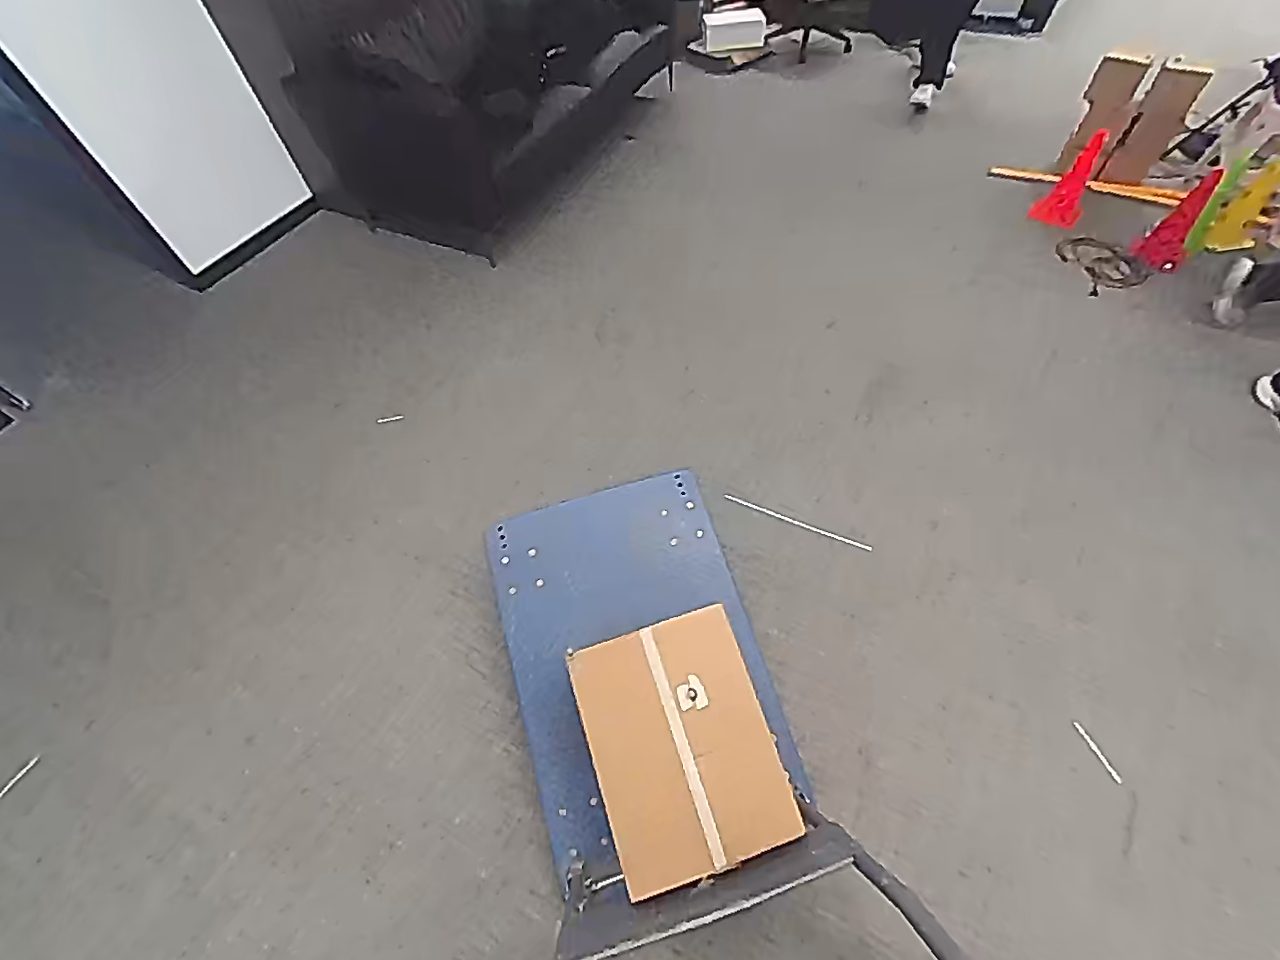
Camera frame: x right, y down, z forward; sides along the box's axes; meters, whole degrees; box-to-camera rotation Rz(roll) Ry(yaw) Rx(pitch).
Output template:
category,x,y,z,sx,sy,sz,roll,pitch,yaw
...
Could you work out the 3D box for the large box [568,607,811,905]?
category,x,y,z,sx,sy,sz,roll,pitch,yaw
large box,0.079,0.513,1.081,0.320,0.320,0.408,-18,70,-7
